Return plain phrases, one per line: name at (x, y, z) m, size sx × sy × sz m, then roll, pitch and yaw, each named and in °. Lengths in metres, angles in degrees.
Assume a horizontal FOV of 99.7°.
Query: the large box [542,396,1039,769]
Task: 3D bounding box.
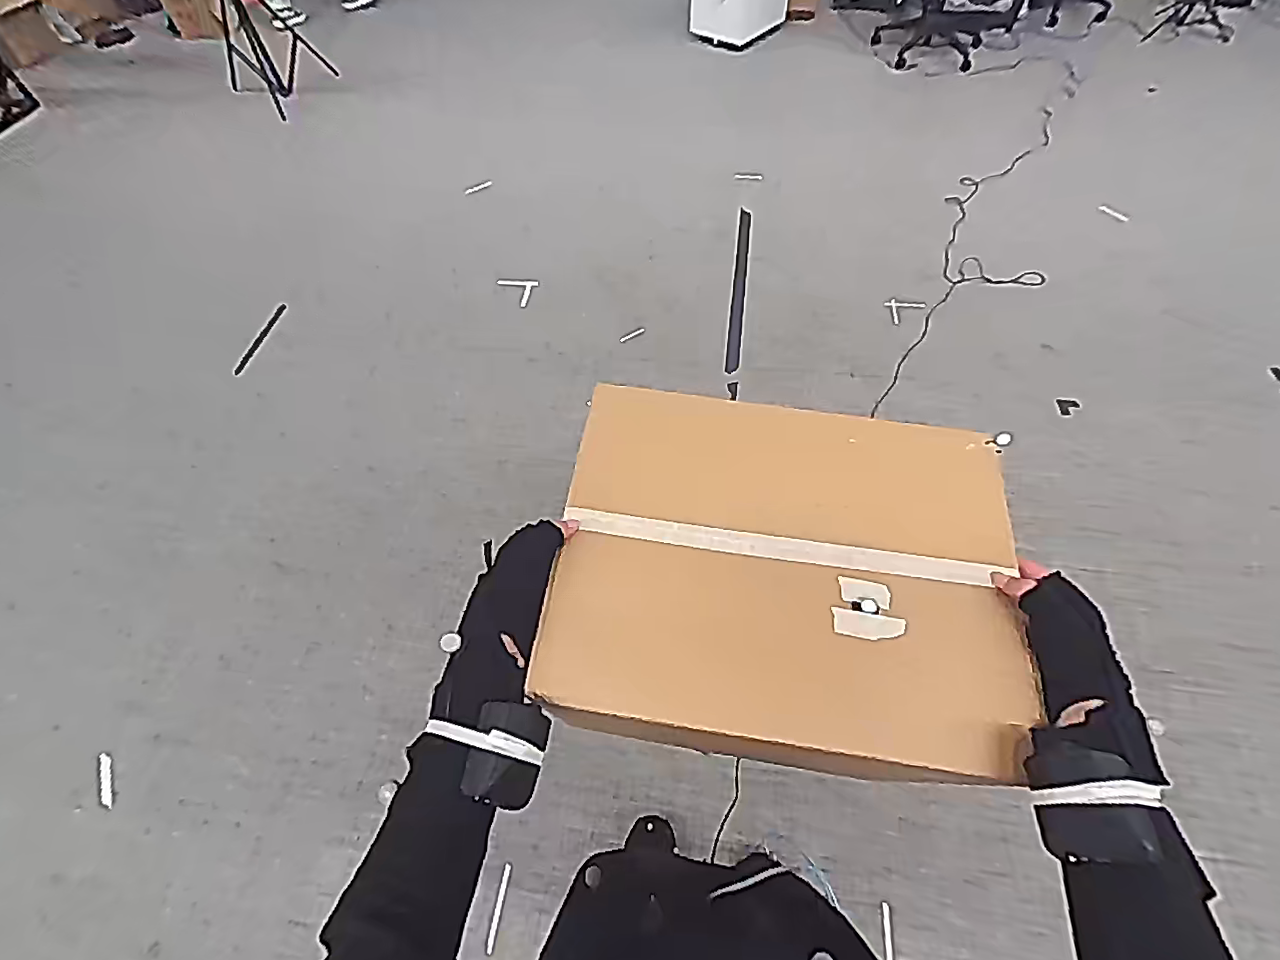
large box at (0.130, 0.136, 0.628) m, size 0.408 × 0.320 × 0.320 m, roll 8°, pitch 63°, yaw 3°
